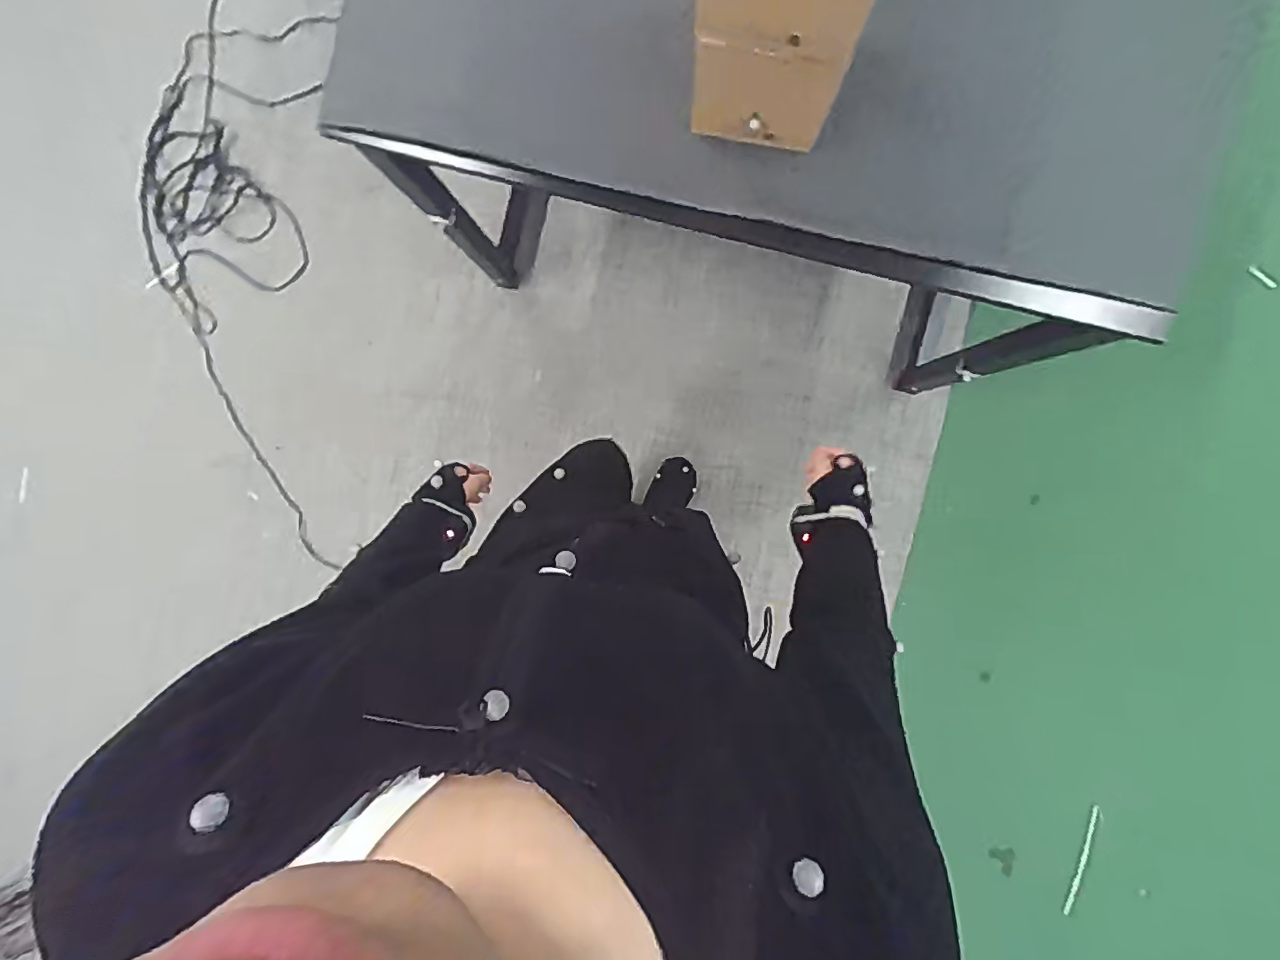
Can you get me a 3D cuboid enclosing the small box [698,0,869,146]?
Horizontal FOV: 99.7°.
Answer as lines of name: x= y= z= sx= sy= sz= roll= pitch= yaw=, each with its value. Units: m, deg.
small box: x=0.166 y=-0.542 z=0.639 sx=0.168 sy=0.176 sz=0.179 roll=12 pitch=92 yaw=3
